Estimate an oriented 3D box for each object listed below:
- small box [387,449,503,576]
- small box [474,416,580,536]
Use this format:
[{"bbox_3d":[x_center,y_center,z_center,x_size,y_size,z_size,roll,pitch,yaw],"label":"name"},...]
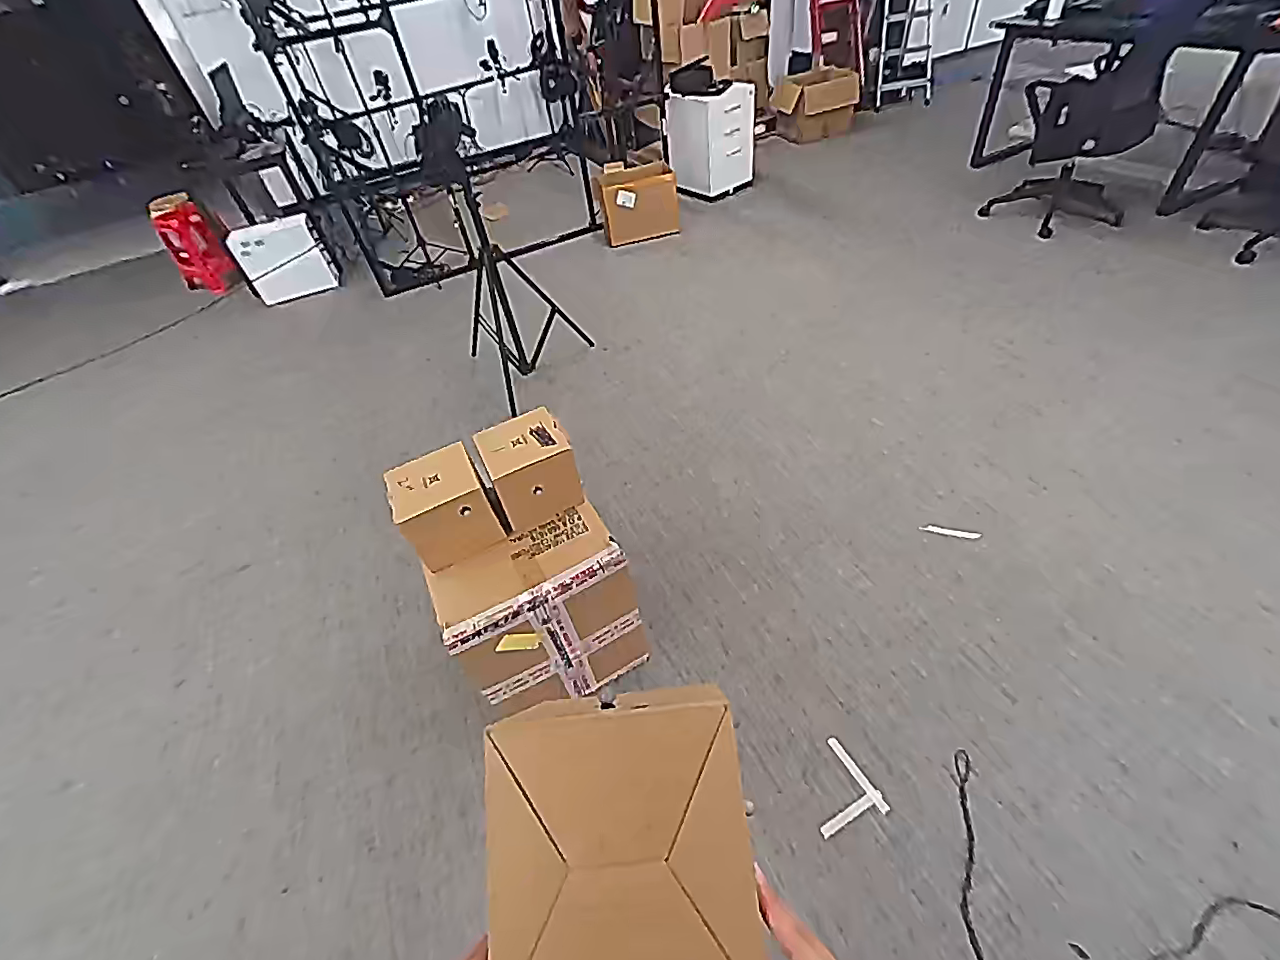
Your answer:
[{"bbox_3d":[-0.411,0.071,1.161,0.179,0.176,0.168,-26,47,-12],"label":"small box"},{"bbox_3d":[-0.245,-0.009,1.211,0.179,0.176,0.168,-24,48,-15],"label":"small box"}]
